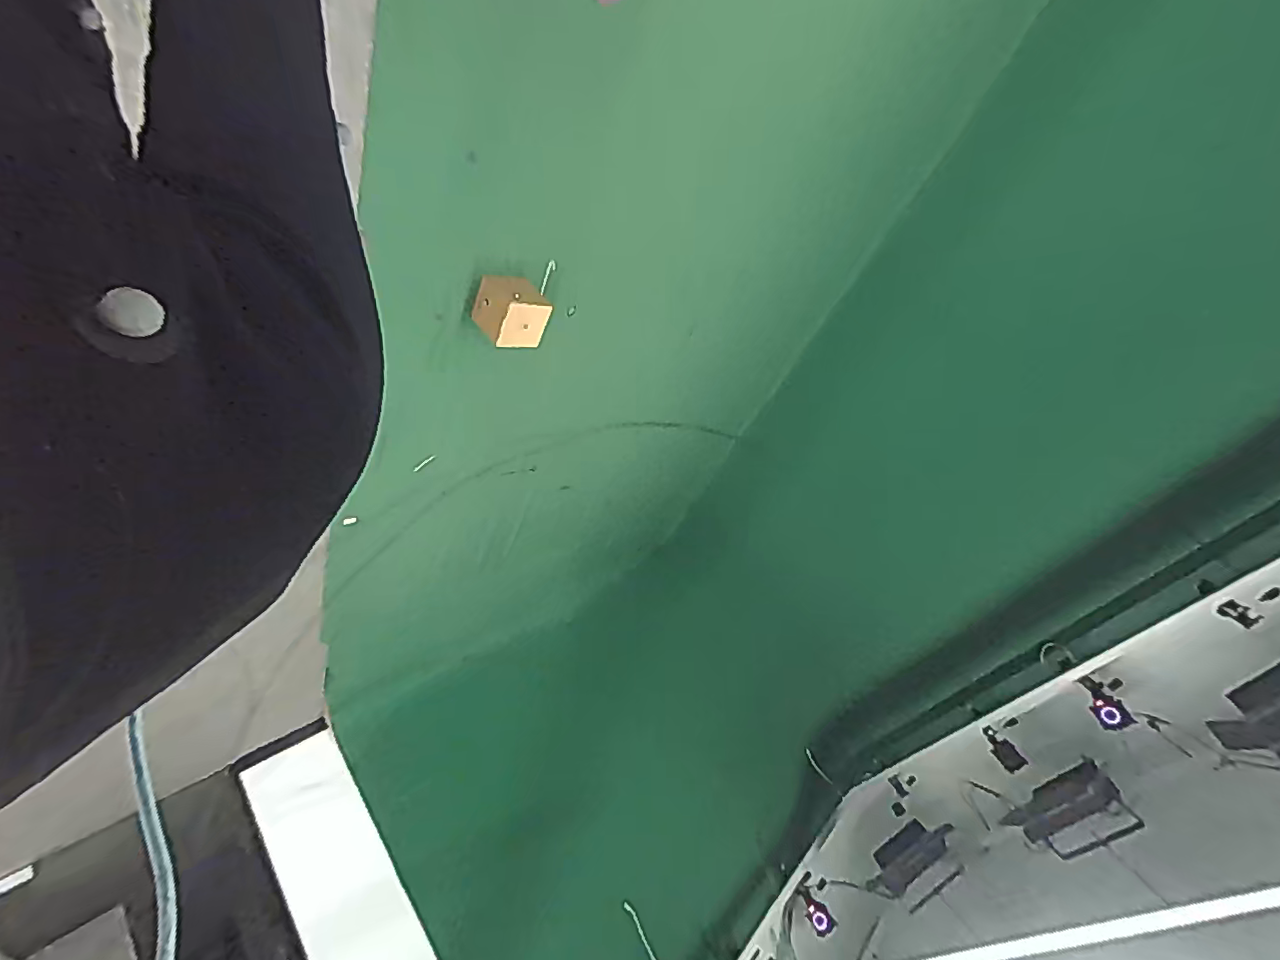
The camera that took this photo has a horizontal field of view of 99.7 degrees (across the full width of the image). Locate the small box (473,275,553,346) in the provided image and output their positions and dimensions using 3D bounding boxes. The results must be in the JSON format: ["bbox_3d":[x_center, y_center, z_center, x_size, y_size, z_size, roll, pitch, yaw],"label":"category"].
[{"bbox_3d":[-0.433,-0.575,1.833,0.179,0.176,0.168,-15,146,-47],"label":"small box"}]
